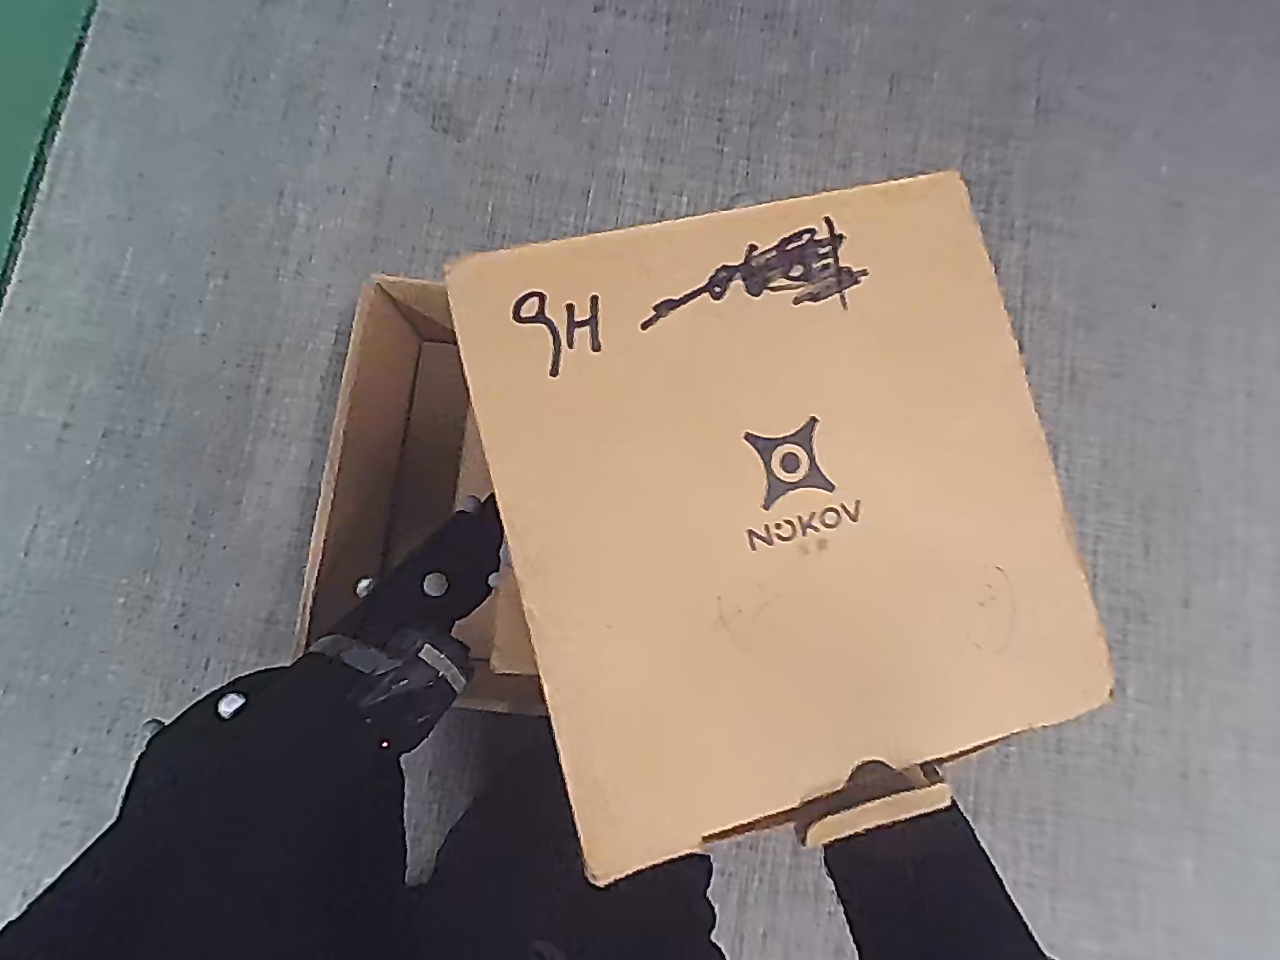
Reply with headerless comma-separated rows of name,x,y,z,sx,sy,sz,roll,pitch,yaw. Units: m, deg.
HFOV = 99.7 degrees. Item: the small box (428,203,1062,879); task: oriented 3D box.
small box,0.026,0.016,0.241,0.168,0.176,0.179,-13,88,-8
